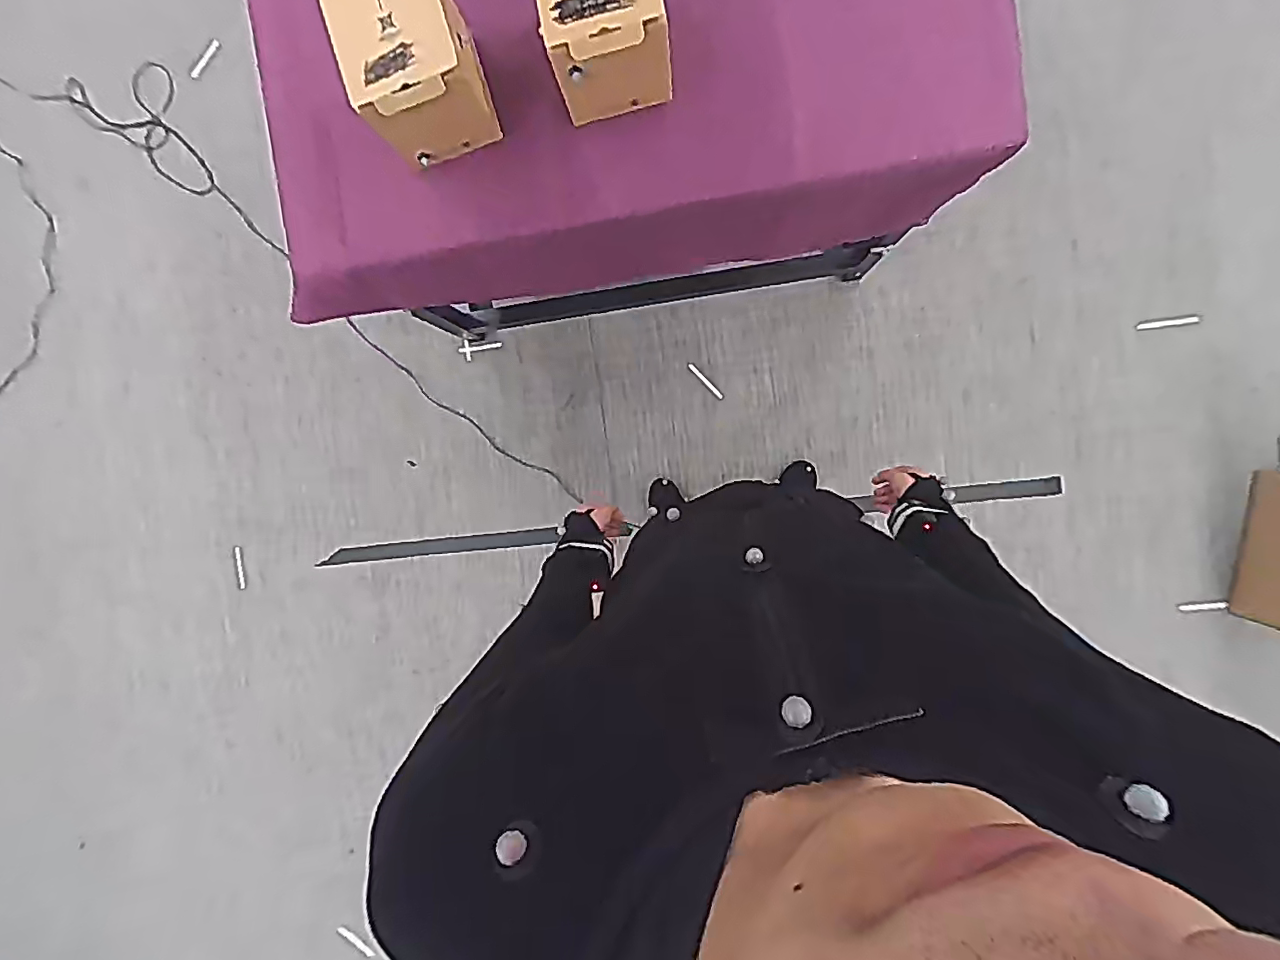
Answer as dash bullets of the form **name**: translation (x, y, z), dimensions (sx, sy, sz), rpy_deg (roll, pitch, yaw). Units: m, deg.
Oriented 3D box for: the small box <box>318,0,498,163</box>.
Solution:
- **small box**: translation (-0.335, -0.615, 0.816), dimensions (0.168, 0.176, 0.179), rpy_deg (-17, 91, 6)
